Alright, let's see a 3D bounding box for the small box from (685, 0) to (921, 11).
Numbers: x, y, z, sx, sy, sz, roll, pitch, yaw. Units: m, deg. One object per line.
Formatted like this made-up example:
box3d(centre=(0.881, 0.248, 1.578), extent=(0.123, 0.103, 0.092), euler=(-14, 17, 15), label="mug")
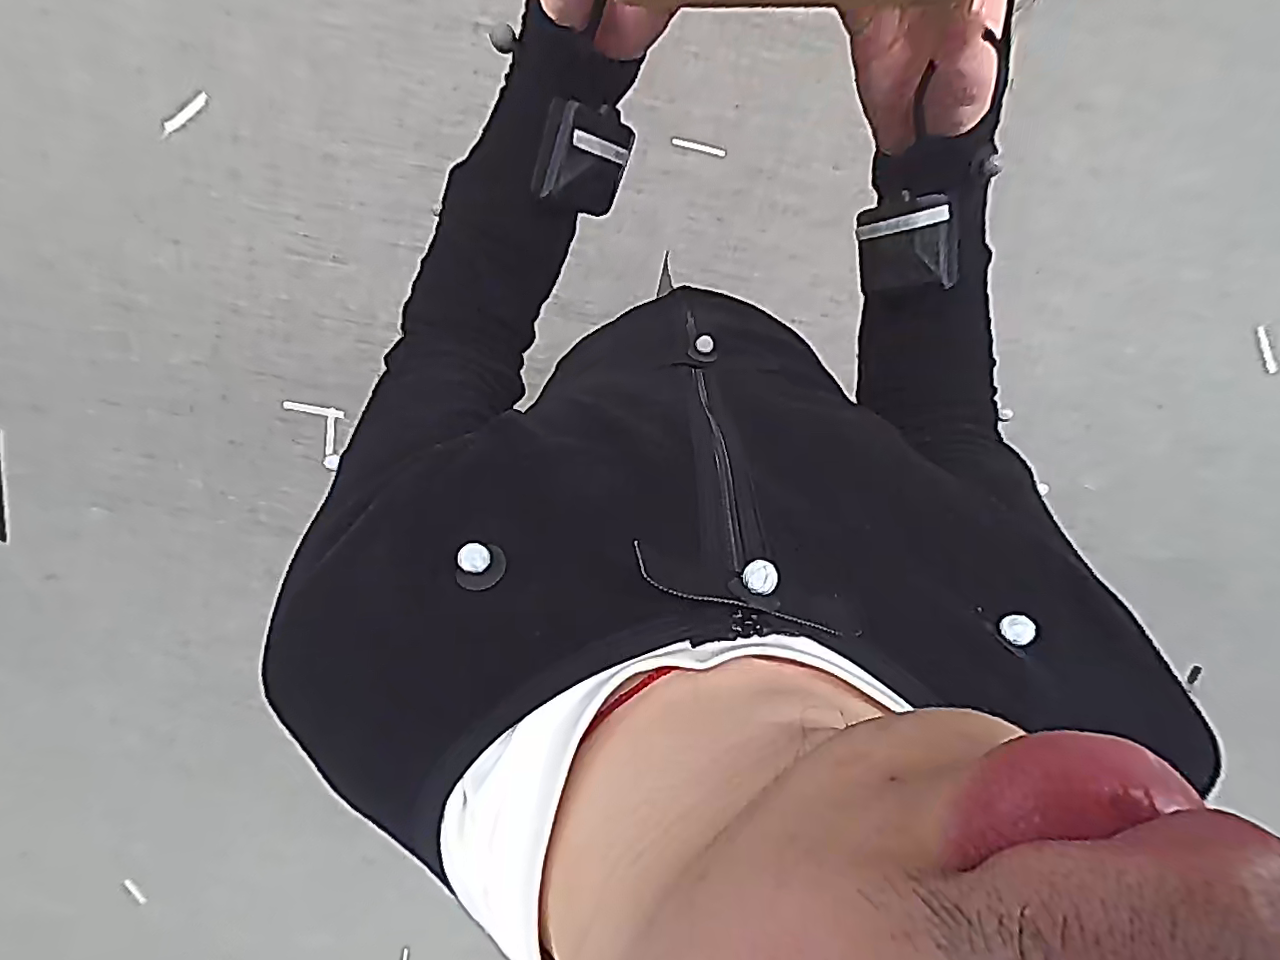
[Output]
box3d(centre=(0.076, -0.318, 0.198), extent=(0.179, 0.176, 0.168), euler=(2, 100, 2), label="small box")
